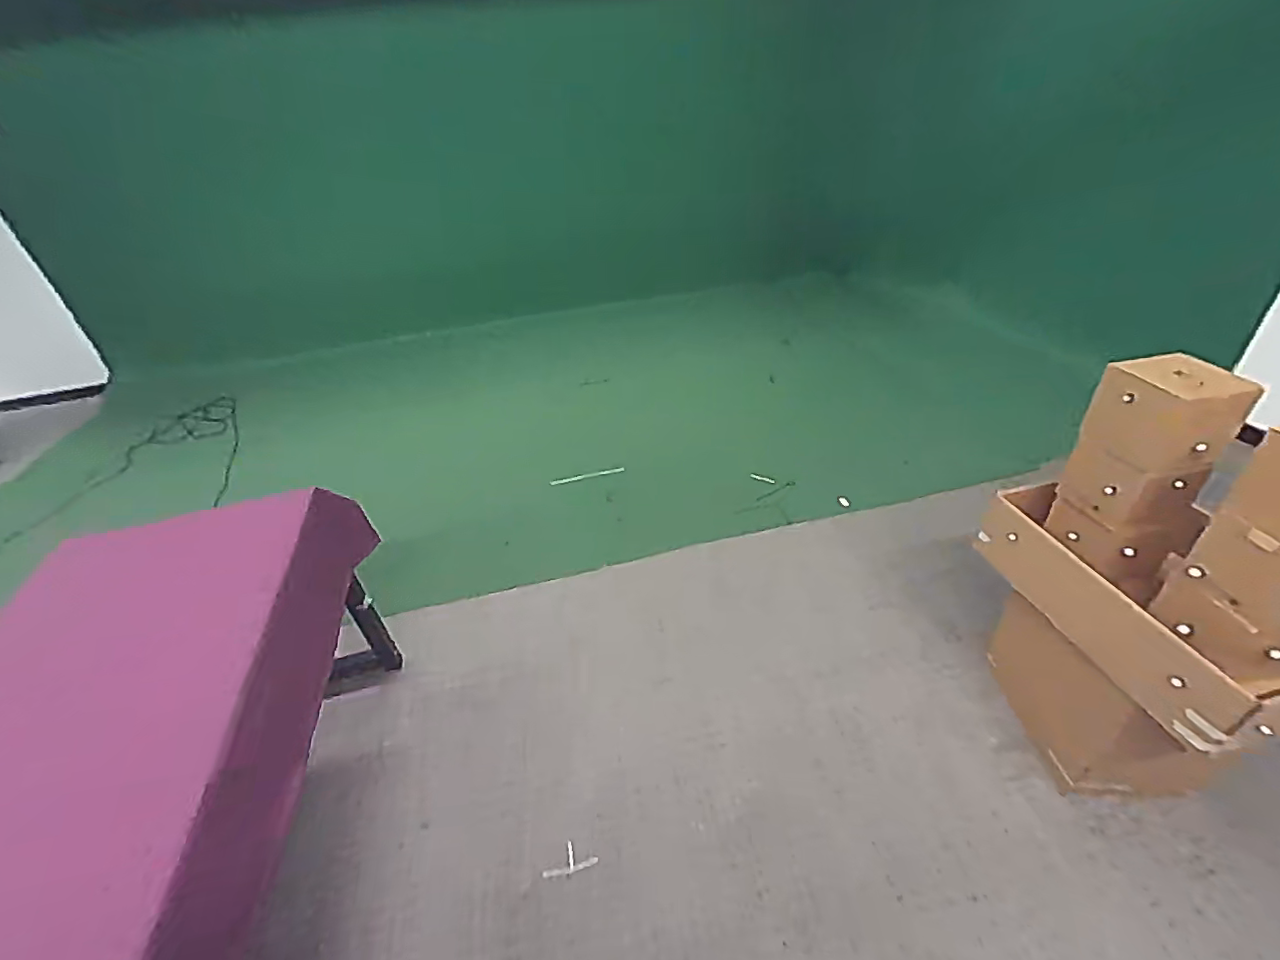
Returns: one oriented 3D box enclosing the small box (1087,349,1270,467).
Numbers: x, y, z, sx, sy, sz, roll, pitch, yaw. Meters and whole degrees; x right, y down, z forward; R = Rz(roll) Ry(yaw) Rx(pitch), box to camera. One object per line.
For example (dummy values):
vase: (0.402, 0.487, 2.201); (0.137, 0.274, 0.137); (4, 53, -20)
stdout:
small box: (1.077, -0.147, 1.104); (0.168, 0.176, 0.179); (-10, 36, -2)

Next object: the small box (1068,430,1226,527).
small box: (1.102, -0.015, 1.199); (0.179, 0.176, 0.168); (-11, 36, -5)

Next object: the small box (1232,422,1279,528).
small box: (1.153, 0.005, 0.878); (0.168, 0.176, 0.179); (-10, 36, -4)

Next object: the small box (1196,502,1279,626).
small box: (1.169, 0.140, 0.968); (0.179, 0.176, 0.168); (-9, 35, -3)
